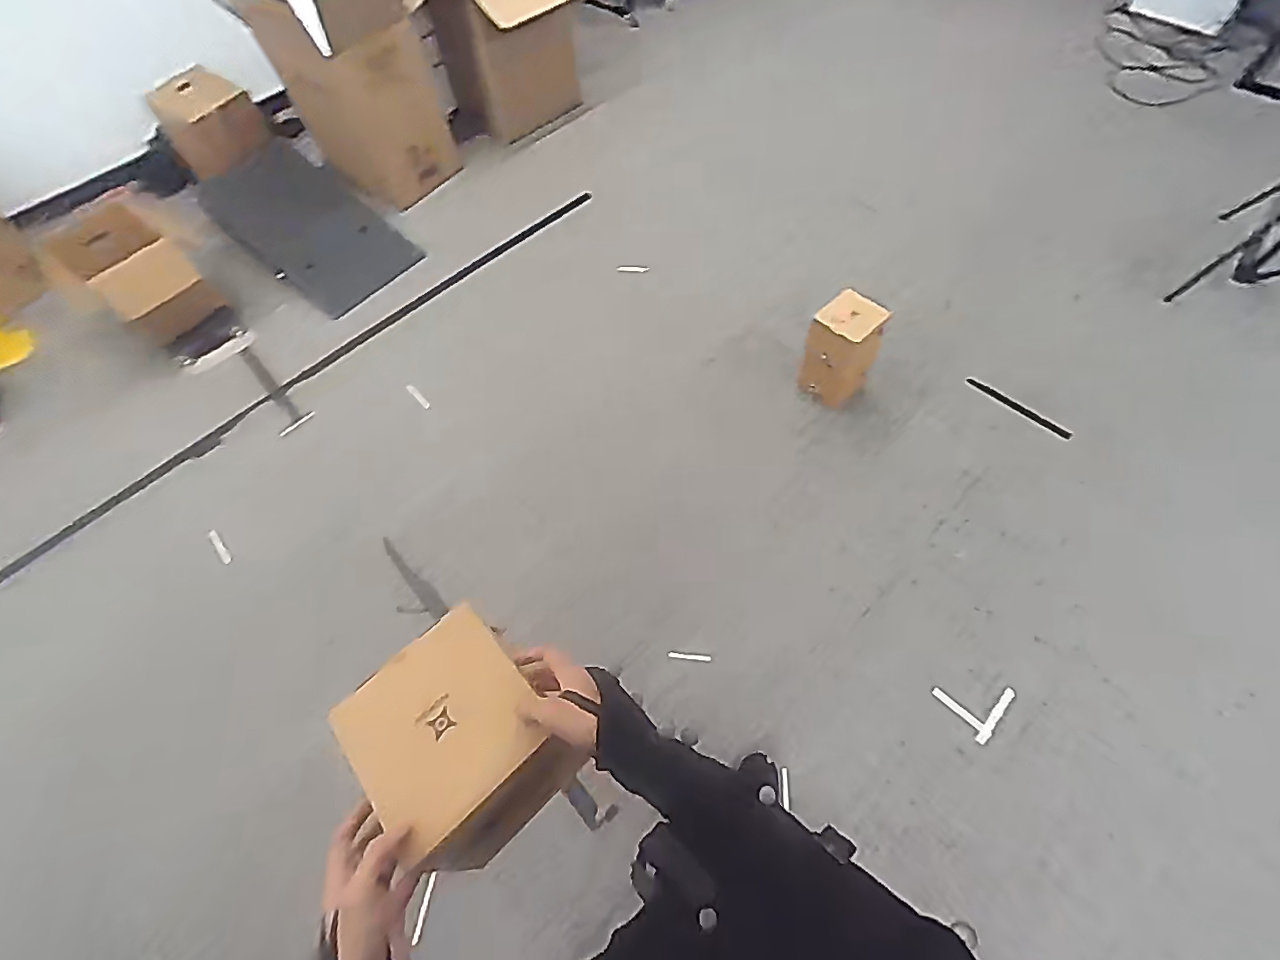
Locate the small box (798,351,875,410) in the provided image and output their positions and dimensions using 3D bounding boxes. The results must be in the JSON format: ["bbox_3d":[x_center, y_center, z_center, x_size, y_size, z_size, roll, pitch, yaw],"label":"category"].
[{"bbox_3d":[0.669,-0.380,1.866,0.179,0.176,0.168,-39,64,-16],"label":"small box"}]

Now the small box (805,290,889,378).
[{"bbox_3d":[0.650,-0.463,1.726,0.179,0.176,0.168,-40,64,-16],"label":"small box"}]
